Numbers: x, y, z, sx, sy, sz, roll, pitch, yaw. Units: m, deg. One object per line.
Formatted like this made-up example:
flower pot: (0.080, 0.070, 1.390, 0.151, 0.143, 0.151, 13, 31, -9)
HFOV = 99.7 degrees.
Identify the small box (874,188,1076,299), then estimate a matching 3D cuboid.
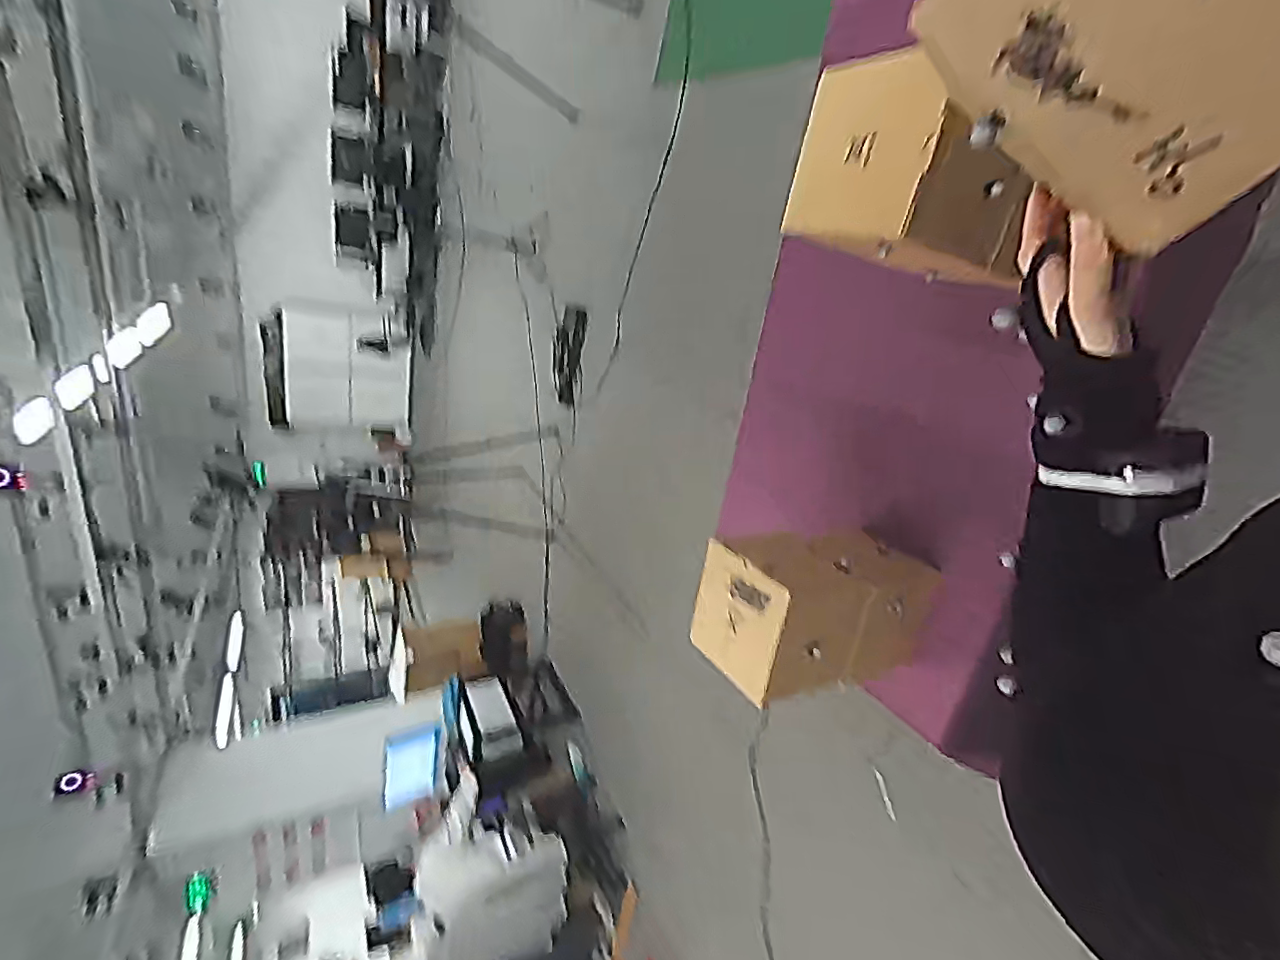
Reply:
small box: (0.440, -0.339, 0.702, 0.179, 0.176, 0.168, 39, 124, 51)

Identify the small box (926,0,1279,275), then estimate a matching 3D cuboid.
small box: (0.283, -0.231, 0.274, 0.168, 0.176, 0.179, 51, 129, 7)

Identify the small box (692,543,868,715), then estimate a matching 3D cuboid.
small box: (0.205, 0.203, 0.795, 0.168, 0.176, 0.179, 32, 118, 54)

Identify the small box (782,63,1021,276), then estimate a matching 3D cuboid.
small box: (0.301, -0.337, 0.616, 0.179, 0.176, 0.168, 38, 123, 51)
